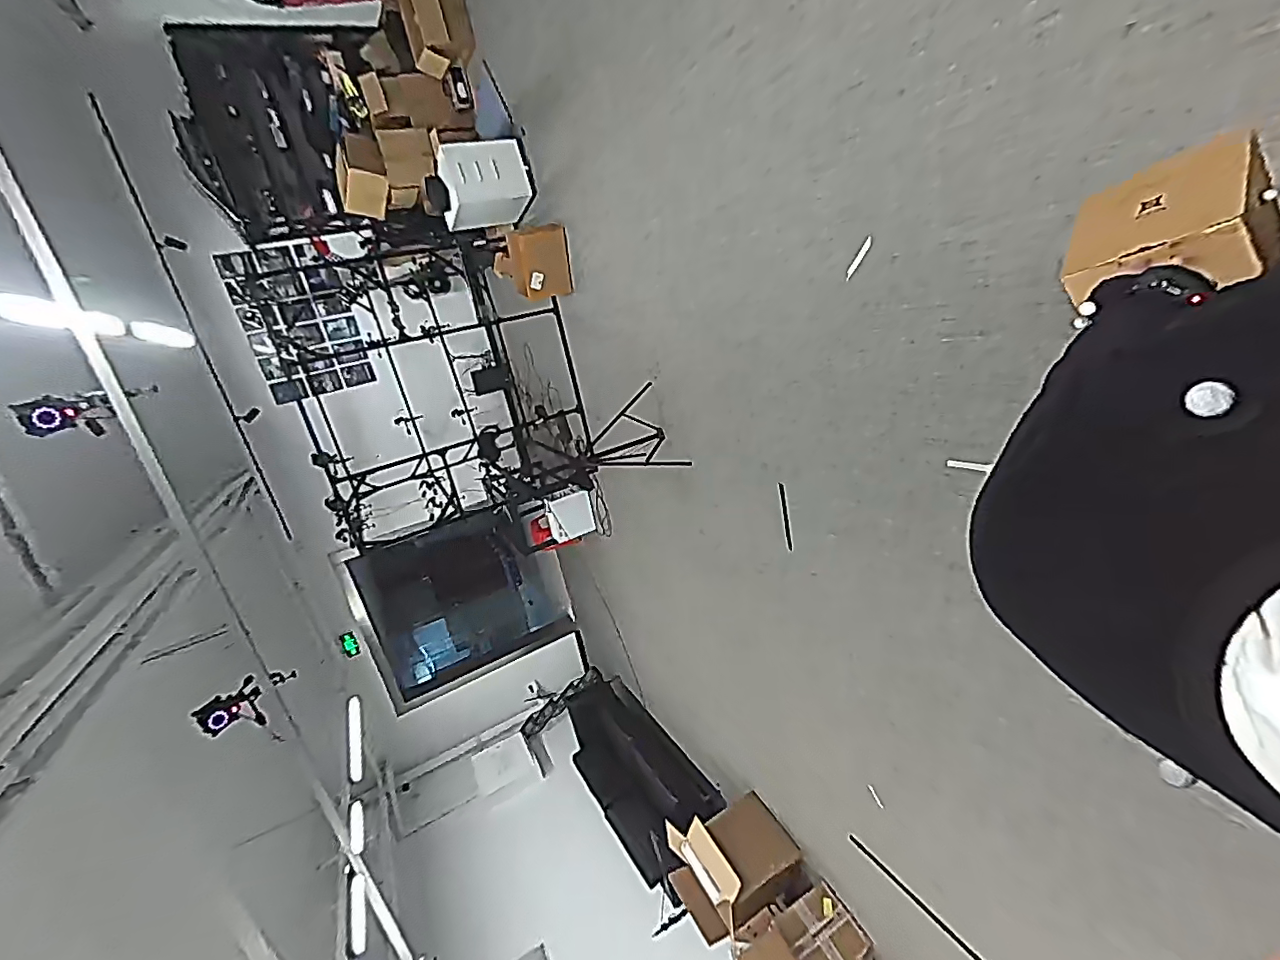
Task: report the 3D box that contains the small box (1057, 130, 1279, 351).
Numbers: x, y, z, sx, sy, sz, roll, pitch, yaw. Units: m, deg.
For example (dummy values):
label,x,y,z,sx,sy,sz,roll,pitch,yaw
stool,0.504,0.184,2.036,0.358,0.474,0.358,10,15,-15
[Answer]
label,x,y,z,sx,sy,sz,roll,pitch,yaw
small box,0.689,-0.291,0.705,0.176,0.179,0.168,40,157,-23
